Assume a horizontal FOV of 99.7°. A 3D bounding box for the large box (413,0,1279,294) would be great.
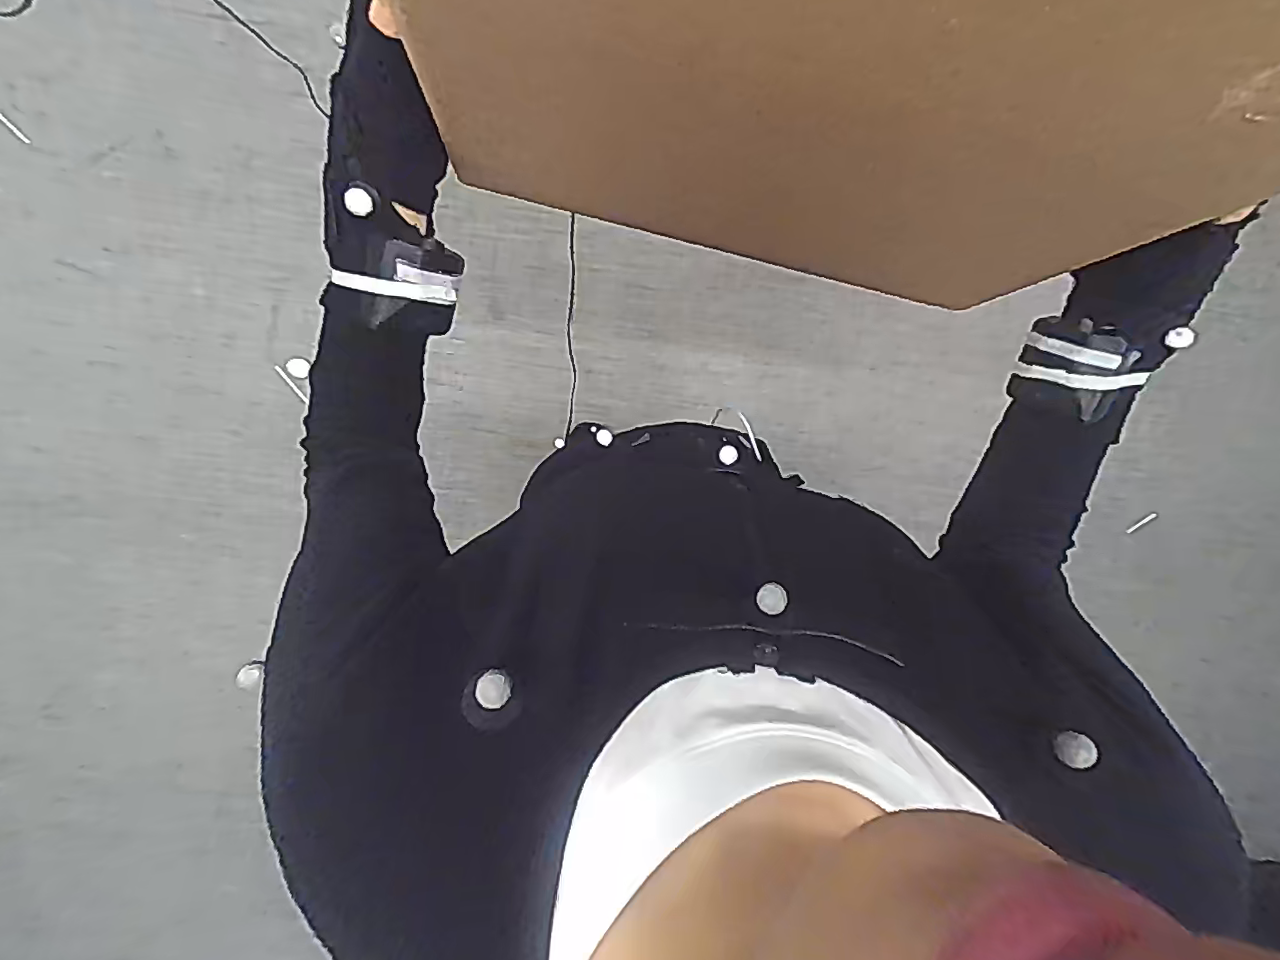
[{"bbox_3d":[0.116,-0.324,0.262,0.408,0.320,0.320,11,92,-9],"label":"large box"}]
